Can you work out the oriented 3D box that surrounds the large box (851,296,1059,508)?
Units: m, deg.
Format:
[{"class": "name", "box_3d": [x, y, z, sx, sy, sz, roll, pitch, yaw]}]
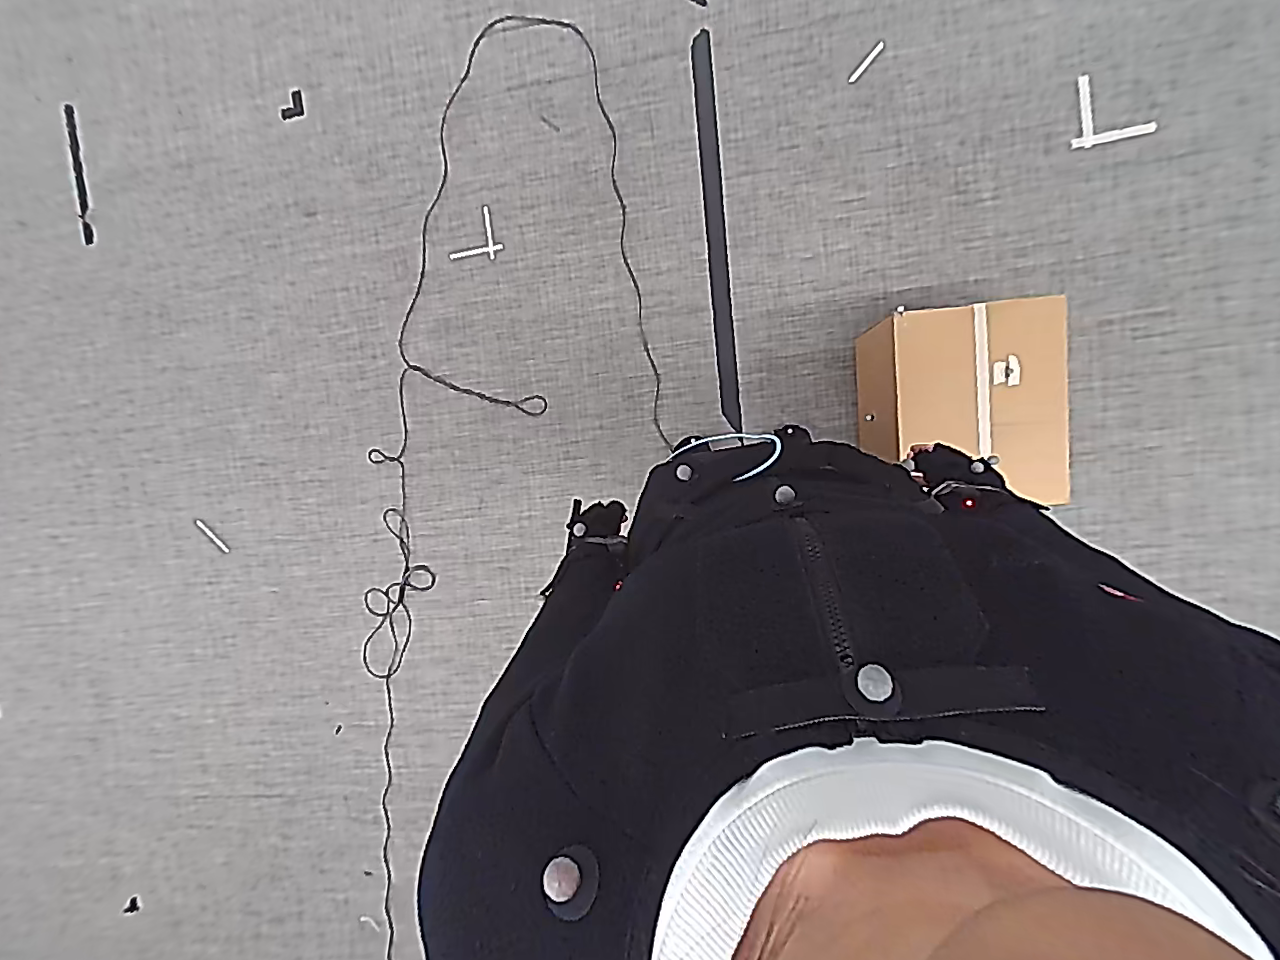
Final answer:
[{"class": "large box", "box_3d": [0.685, -0.160, 1.230, 0.320, 0.320, 0.408, -4, 94, 7]}]
